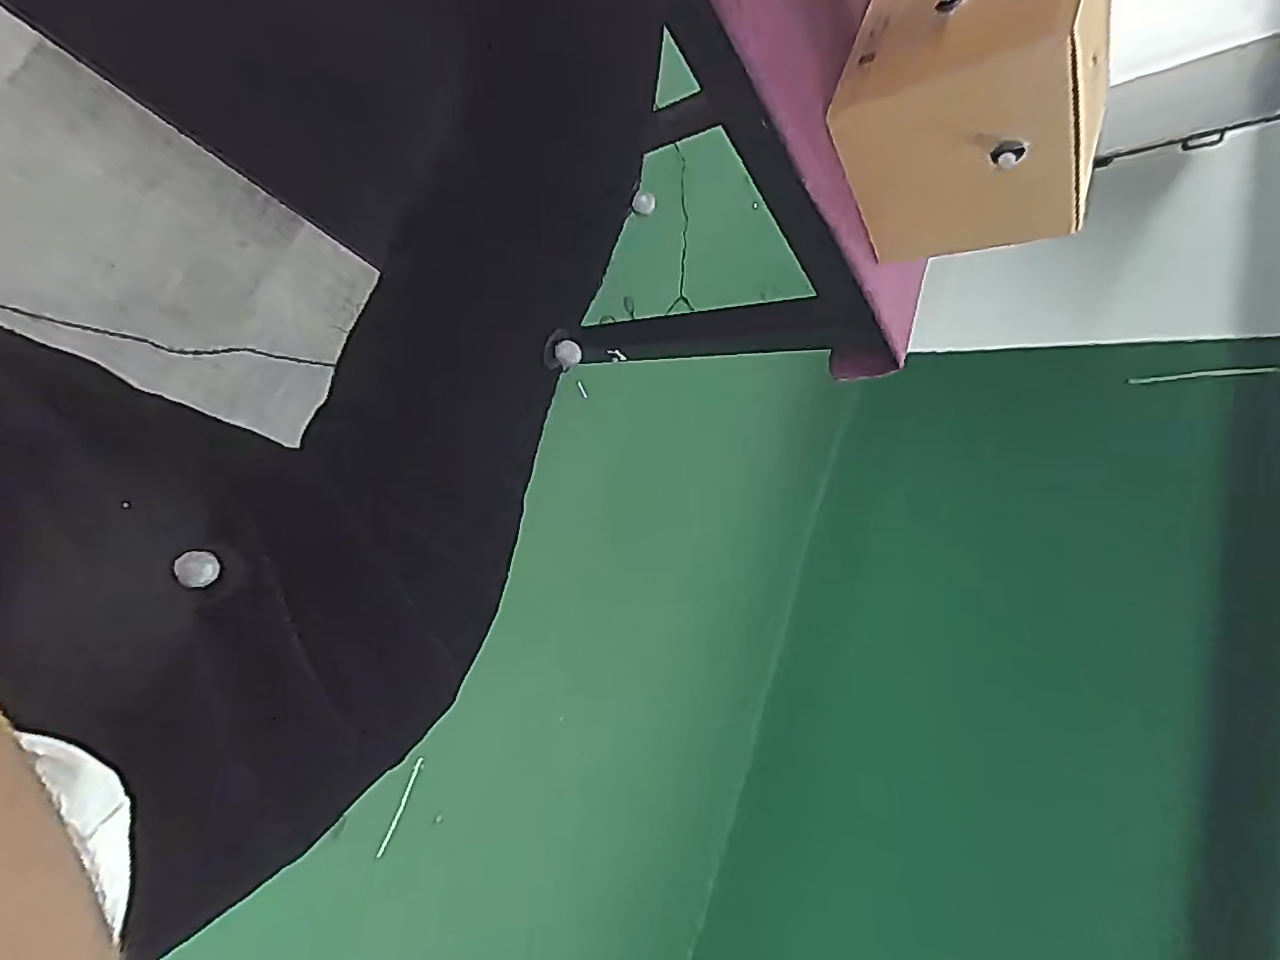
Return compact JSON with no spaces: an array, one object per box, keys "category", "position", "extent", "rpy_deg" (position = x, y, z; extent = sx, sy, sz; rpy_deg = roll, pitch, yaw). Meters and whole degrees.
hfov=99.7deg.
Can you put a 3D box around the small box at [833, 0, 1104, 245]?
[{"category":"small box","position":[0.291,-0.339,0.478],"extent":[0.179,0.176,0.168],"rpy_deg":[38,68,-43]}]
